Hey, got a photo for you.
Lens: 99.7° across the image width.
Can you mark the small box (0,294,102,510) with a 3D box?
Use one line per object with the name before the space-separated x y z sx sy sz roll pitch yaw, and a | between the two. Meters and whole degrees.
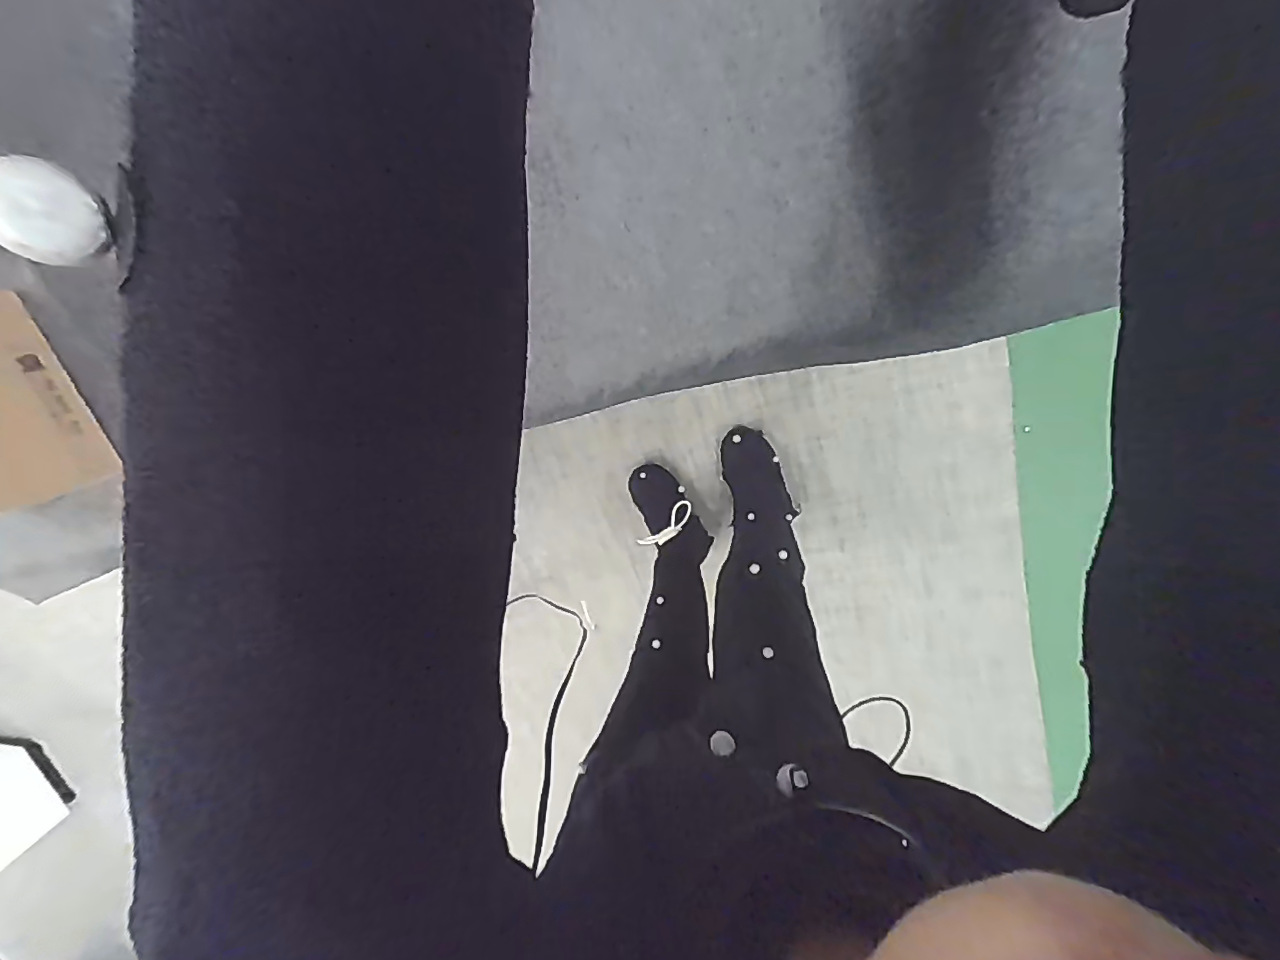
small box | -0.583 -0.040 0.414 0.179 0.176 0.168 -11 109 16
